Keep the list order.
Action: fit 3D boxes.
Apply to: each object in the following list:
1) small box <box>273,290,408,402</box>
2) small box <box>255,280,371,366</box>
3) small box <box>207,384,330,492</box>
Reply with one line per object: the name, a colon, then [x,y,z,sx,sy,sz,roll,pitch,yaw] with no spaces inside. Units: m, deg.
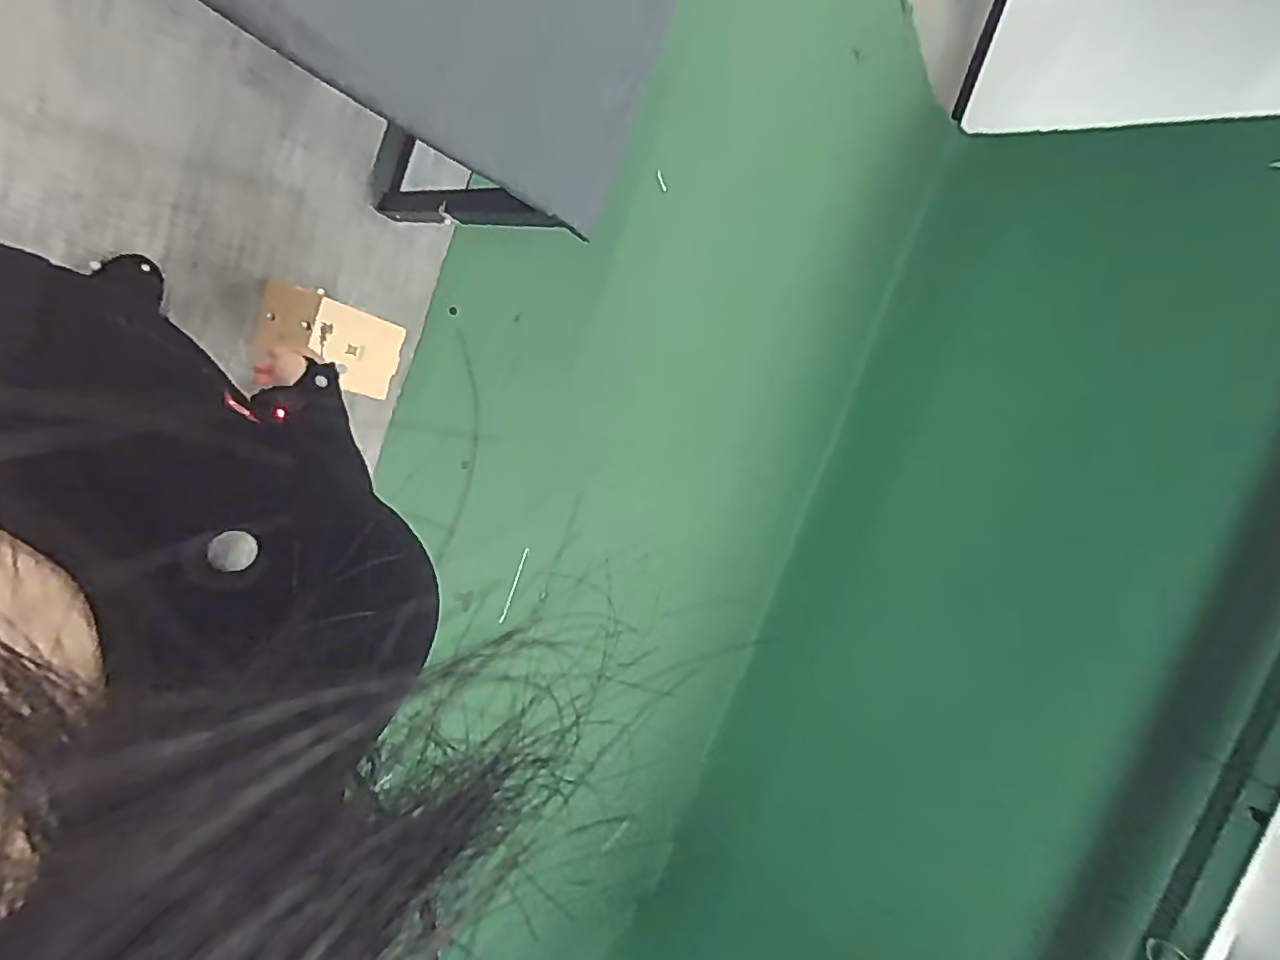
small box: [-0.635,-0.286,1.146,0.179,0.176,0.168,17,97,-52]
small box: [-0.756,-0.341,1.244,0.168,0.176,0.179,13,98,-52]
small box: [-0.861,-0.098,1.246,0.168,0.176,0.179,29,86,-52]
